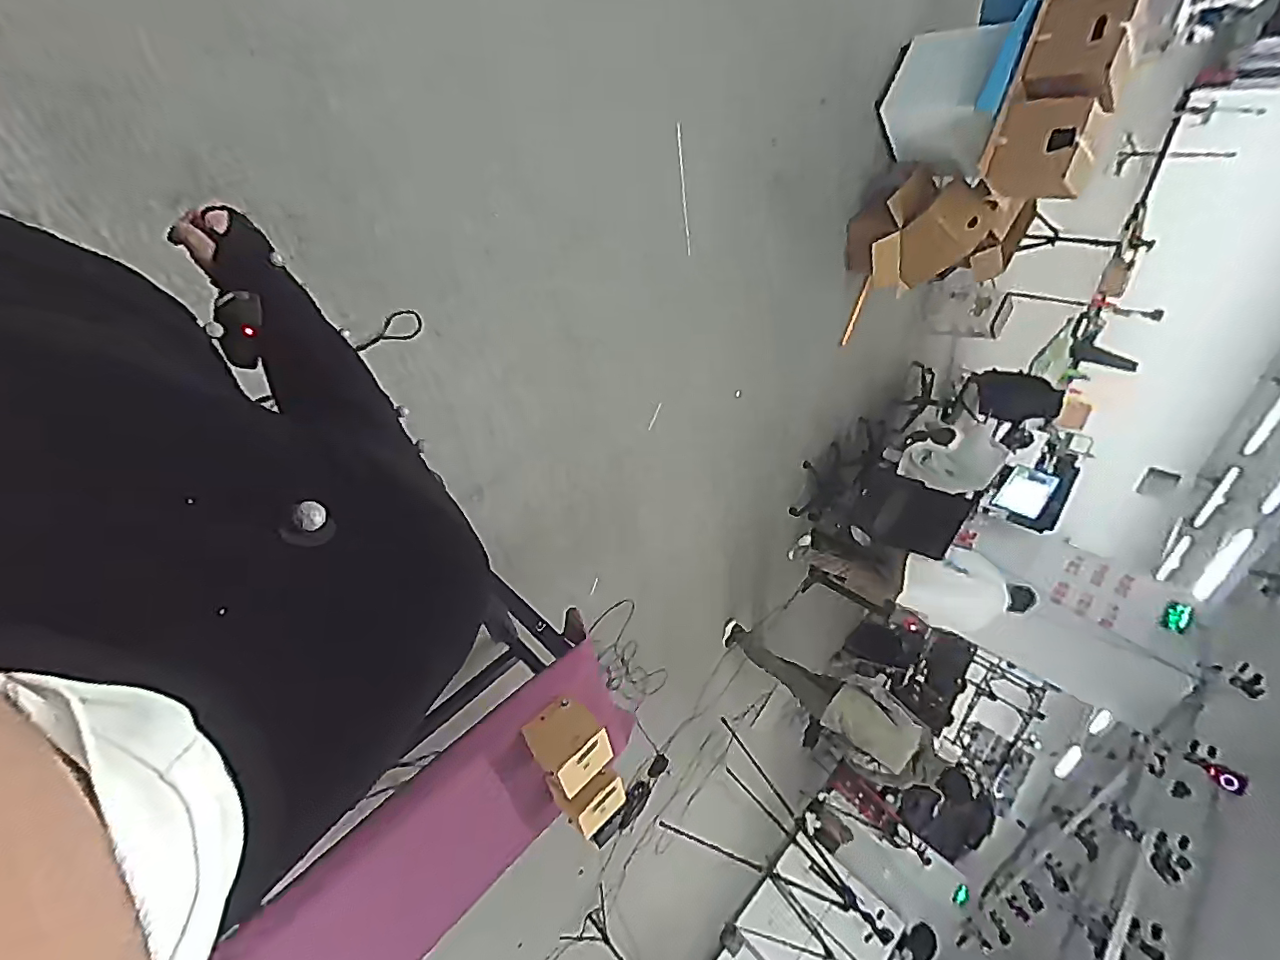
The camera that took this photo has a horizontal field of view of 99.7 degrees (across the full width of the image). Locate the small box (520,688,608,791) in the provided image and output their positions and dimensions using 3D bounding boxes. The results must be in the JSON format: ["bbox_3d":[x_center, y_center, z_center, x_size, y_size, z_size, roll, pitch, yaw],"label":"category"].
[{"bbox_3d":[-0.217,0.725,1.530,0.168,0.176,0.179,-35,137,-29],"label":"small box"}]
